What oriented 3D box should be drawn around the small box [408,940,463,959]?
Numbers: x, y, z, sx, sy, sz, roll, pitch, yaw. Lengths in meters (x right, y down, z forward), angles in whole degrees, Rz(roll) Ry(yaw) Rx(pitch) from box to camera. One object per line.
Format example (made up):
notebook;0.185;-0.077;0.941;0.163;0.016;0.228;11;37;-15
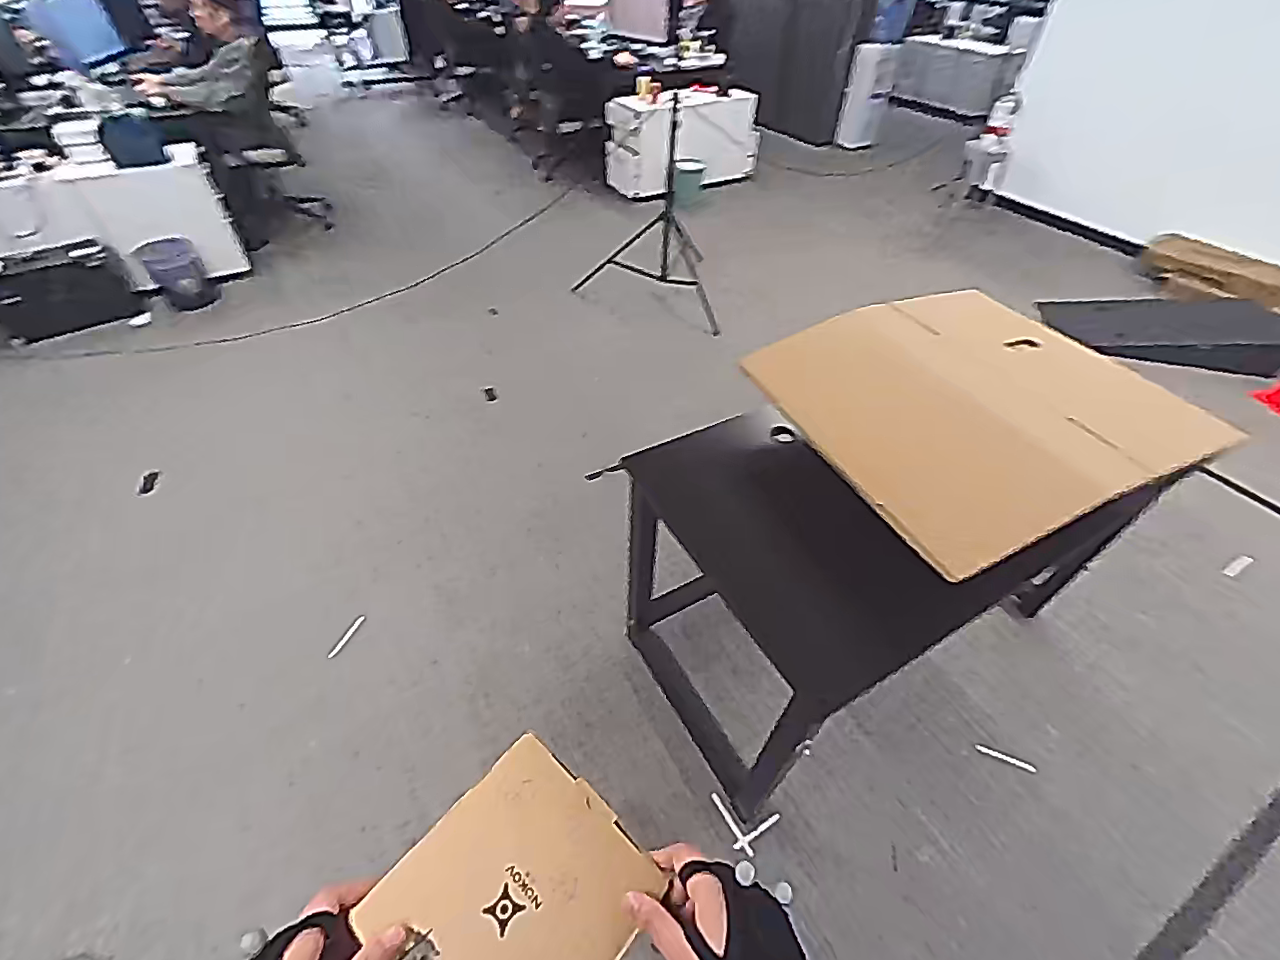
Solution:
small box;-0.352;0.899;0.872;0.168;0.176;0.179;-27;51;-27
